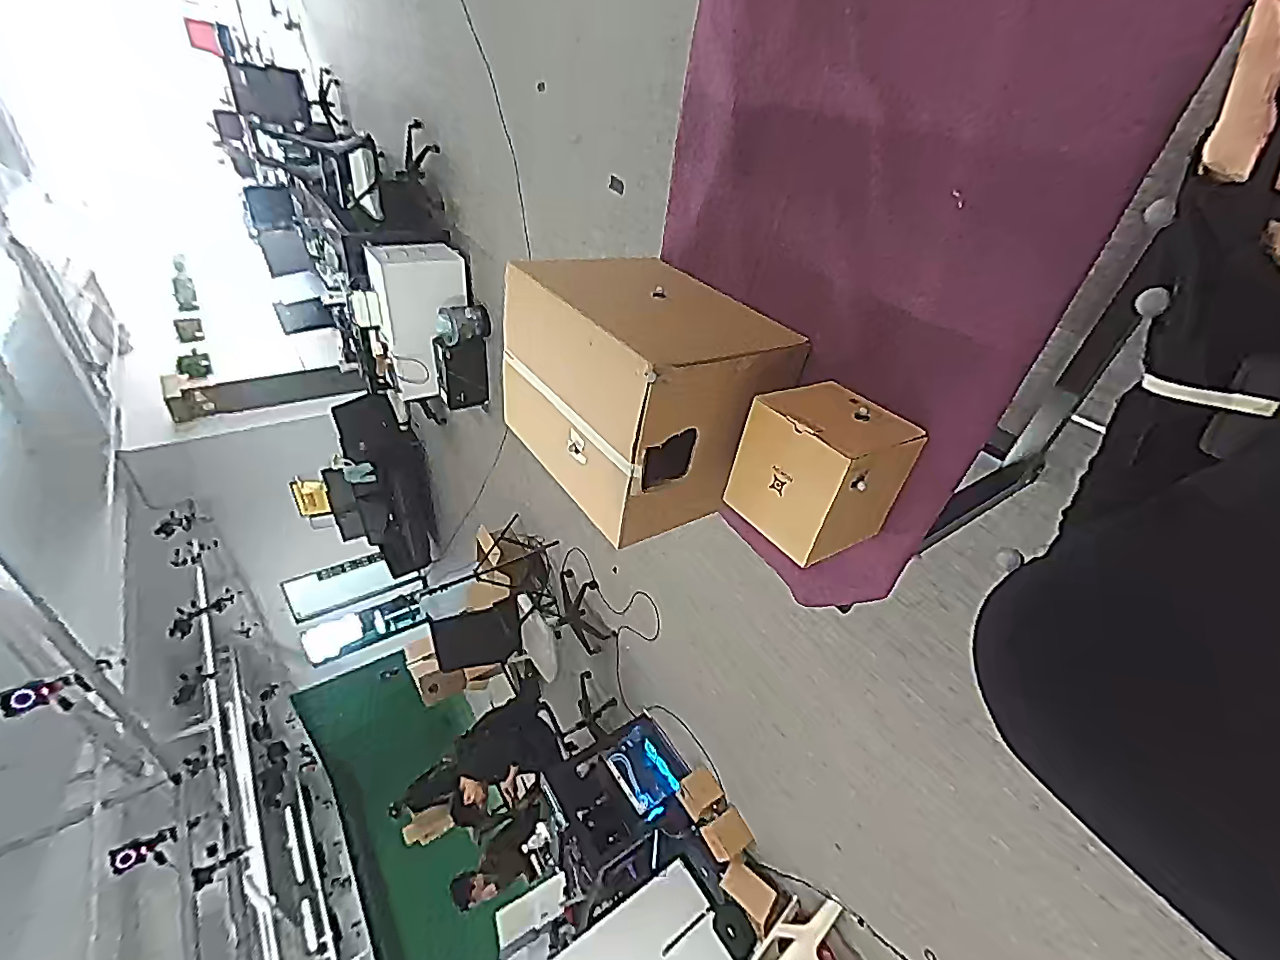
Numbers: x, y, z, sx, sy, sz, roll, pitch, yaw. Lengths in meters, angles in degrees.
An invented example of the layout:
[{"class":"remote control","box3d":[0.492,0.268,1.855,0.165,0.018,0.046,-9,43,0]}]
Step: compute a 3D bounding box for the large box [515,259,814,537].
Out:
[{"class":"large box","box3d":[0.014,-0.175,0.947,0.408,0.320,0.320,42,138,36]}]
